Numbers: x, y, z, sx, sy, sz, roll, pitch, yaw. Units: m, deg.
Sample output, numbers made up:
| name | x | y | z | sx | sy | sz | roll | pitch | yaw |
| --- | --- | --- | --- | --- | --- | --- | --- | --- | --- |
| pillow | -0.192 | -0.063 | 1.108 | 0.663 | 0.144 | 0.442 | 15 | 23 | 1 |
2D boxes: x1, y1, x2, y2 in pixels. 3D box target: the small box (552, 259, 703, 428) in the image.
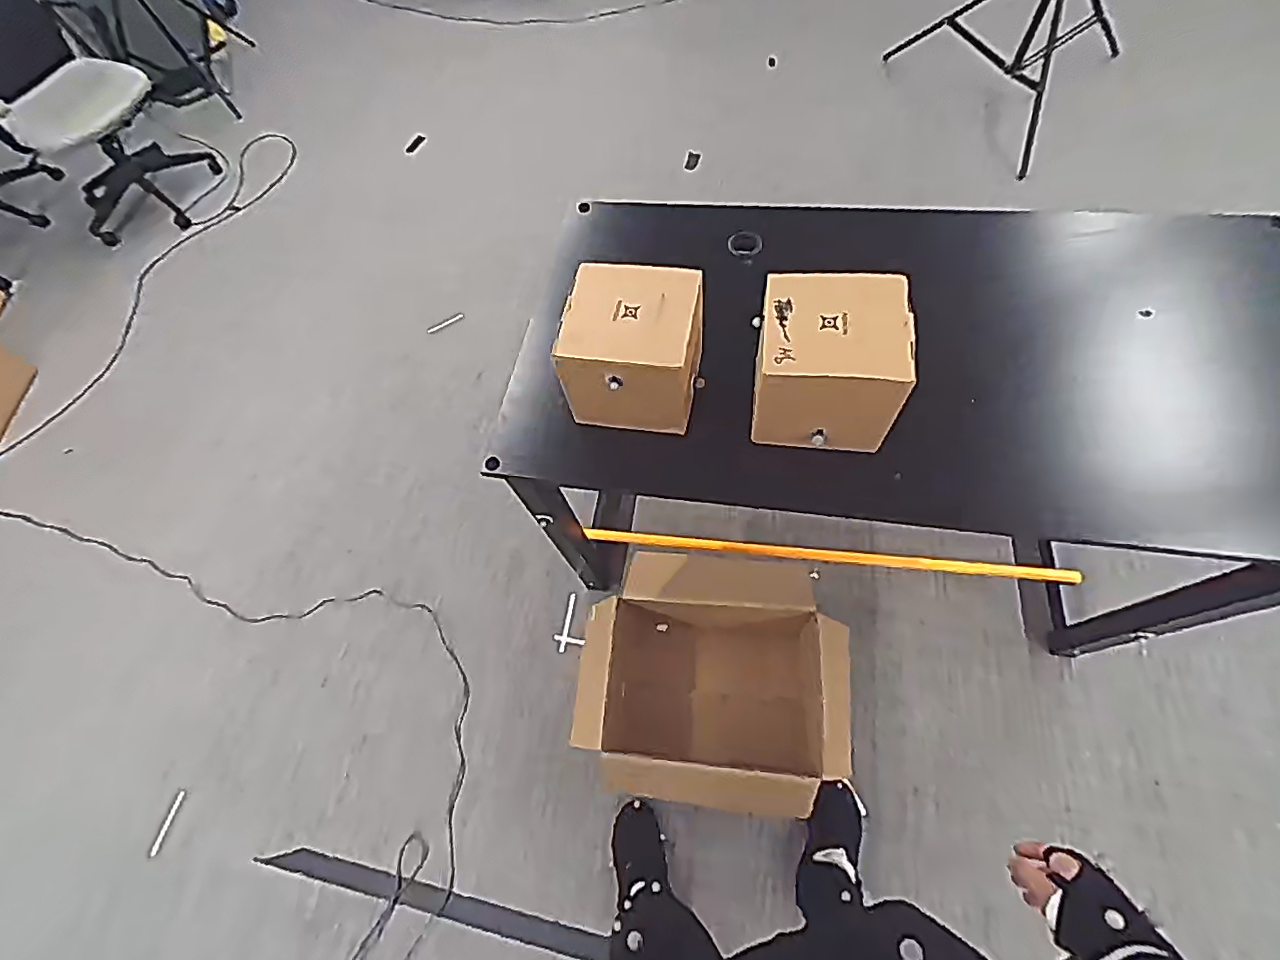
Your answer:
| name | x | y | z | sx | sy | sz | roll | pitch | yaw |
| --- | --- | --- | --- | --- | --- | --- | --- | --- | --- |
| small box | -0.006 | -0.190 | 0.778 | 0.179 | 0.176 | 0.168 | 7 | 66 | 9 |

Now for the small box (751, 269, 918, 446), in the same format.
| name | x | y | z | sx | sy | sz | roll | pitch | yaw |
| --- | --- | --- | --- | --- | --- | --- | --- | --- | --- |
| small box | 0.251 | -0.159 | 0.733 | 0.179 | 0.176 | 0.168 | 5 | 64 | 8 |
